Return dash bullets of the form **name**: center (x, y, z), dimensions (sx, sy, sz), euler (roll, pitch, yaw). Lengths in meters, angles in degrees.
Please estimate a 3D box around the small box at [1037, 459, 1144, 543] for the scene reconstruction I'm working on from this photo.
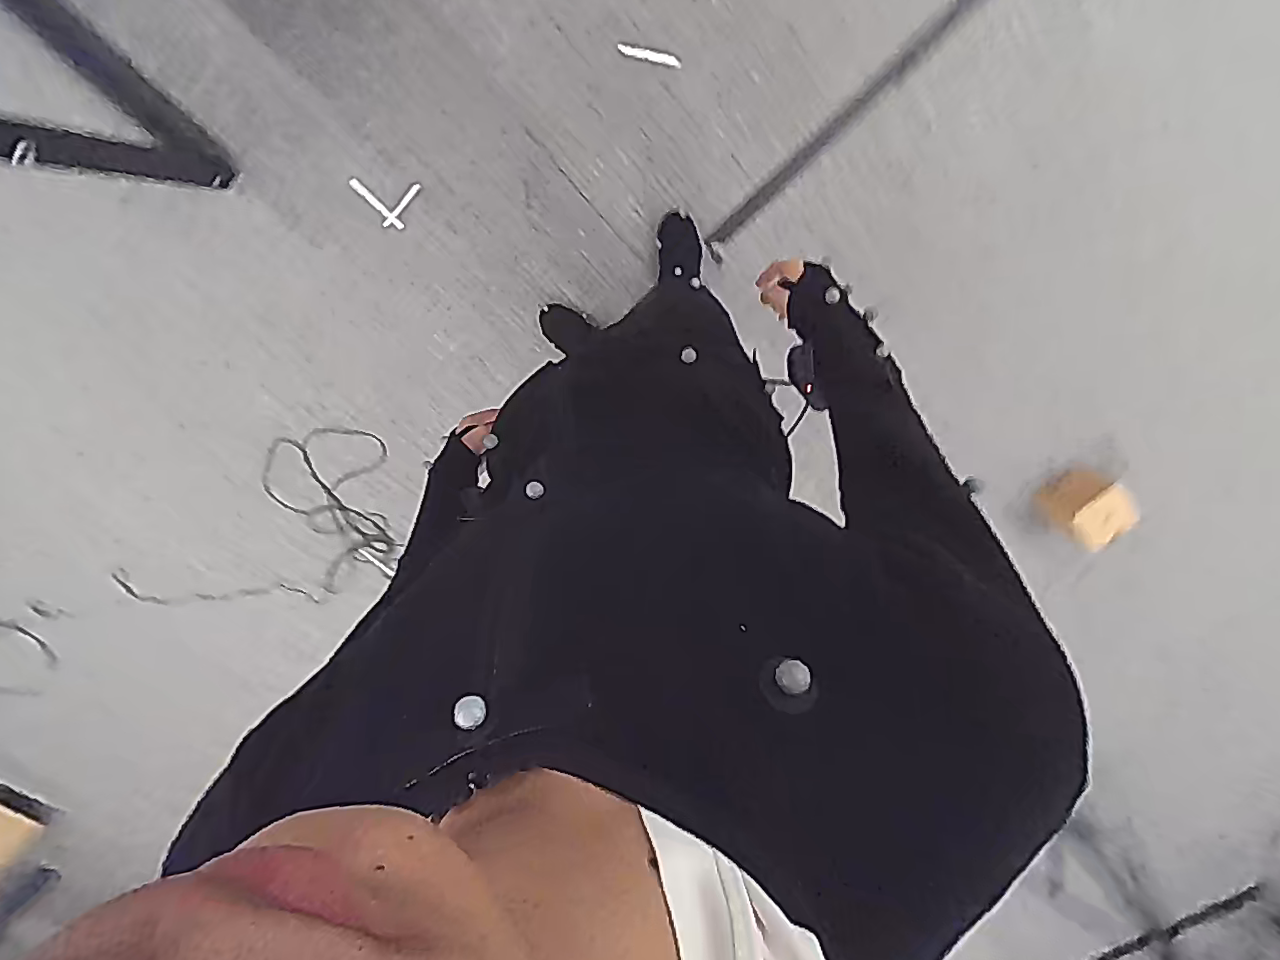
- **small box**: center (1.424, 0.061, 1.718), dimensions (0.168, 0.176, 0.179), euler (-43, 110, 13)
